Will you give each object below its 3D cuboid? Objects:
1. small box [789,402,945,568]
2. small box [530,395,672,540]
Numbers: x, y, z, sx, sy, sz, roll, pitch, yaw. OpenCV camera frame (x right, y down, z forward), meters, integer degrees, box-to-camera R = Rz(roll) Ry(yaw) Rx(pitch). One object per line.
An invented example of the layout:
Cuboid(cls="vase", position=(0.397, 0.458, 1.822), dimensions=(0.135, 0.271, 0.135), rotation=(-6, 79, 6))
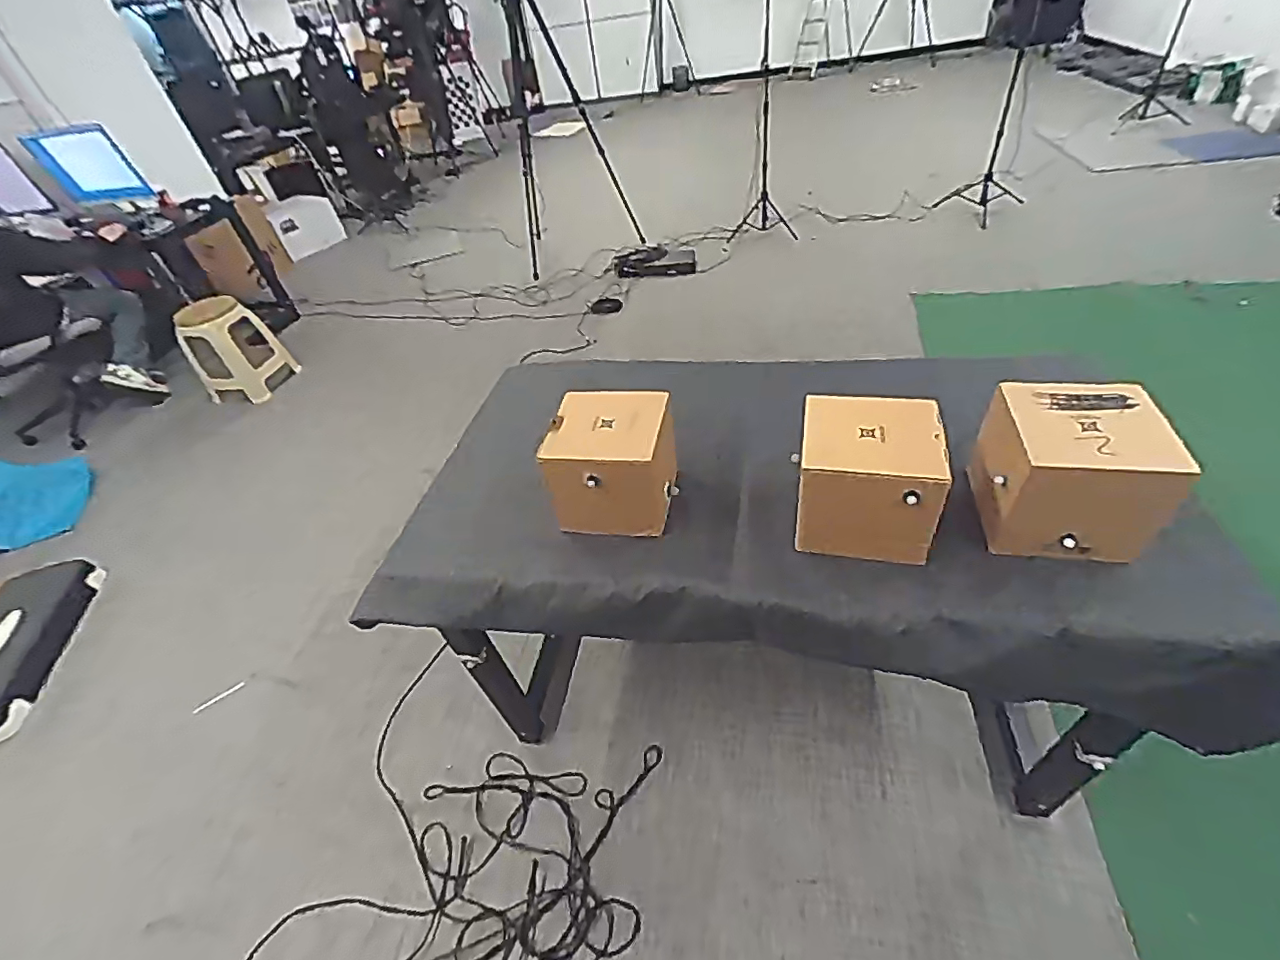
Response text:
Cuboid(cls="small box", position=(0.310, 0.006, 0.771), dimensions=(0.179, 0.176, 0.168), rotation=(5, 44, 16))
Cuboid(cls="small box", position=(-0.050, -0.020, 0.866), dimensions=(0.179, 0.176, 0.168), rotation=(3, 44, 12))
